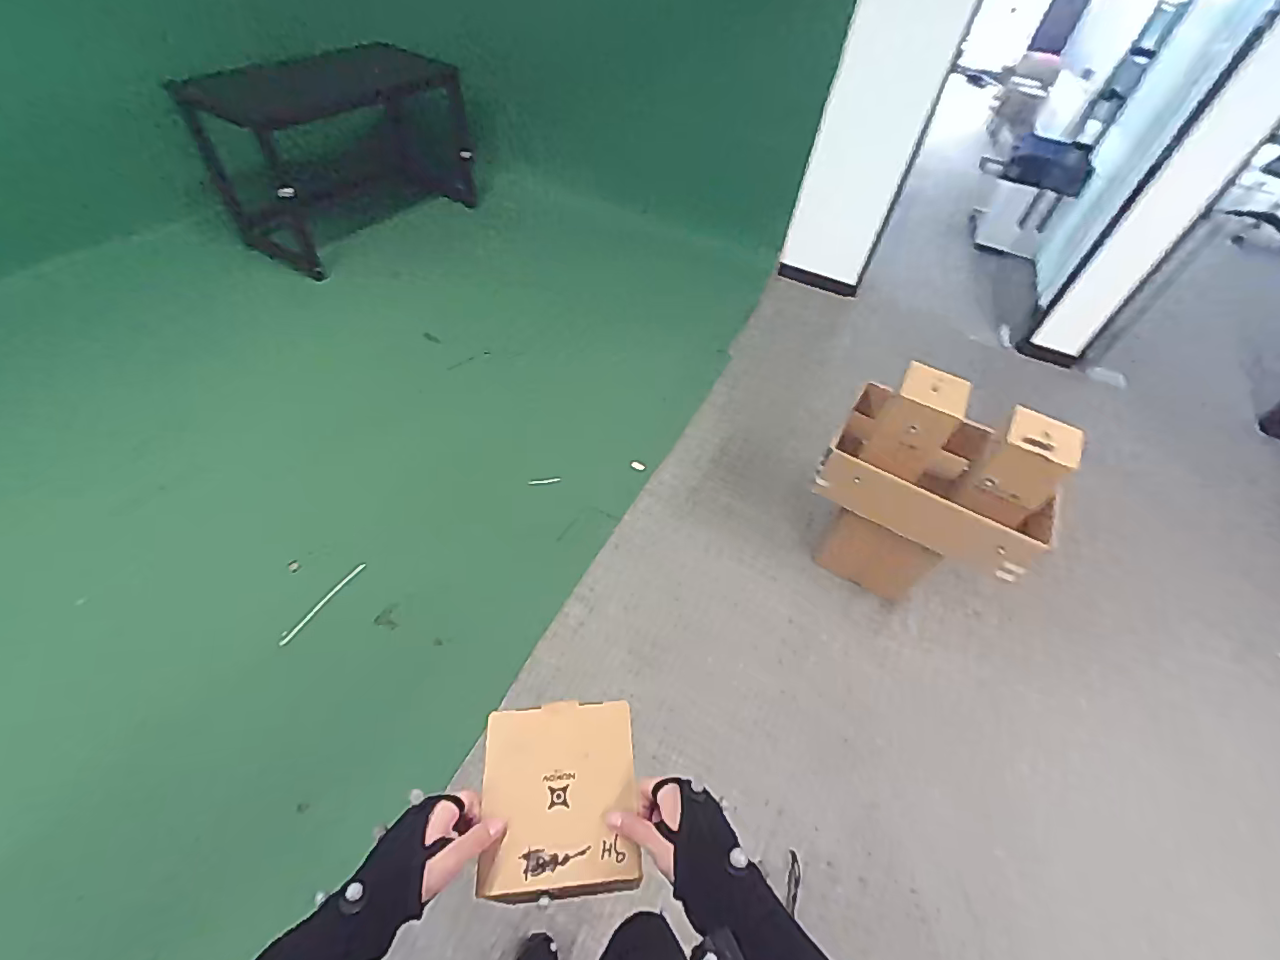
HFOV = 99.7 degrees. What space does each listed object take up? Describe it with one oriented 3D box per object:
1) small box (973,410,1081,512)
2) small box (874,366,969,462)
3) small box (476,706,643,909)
[{"bbox_3d":[1.018,-0.046,1.433,0.168,0.176,0.179,29,52,18],"label":"small box"},{"bbox_3d":[0.783,-0.182,1.516,0.168,0.176,0.179,27,53,15],"label":"small box"},{"bbox_3d":[-0.086,0.389,0.643,0.168,0.176,0.179,-3,50,-4],"label":"small box"}]
